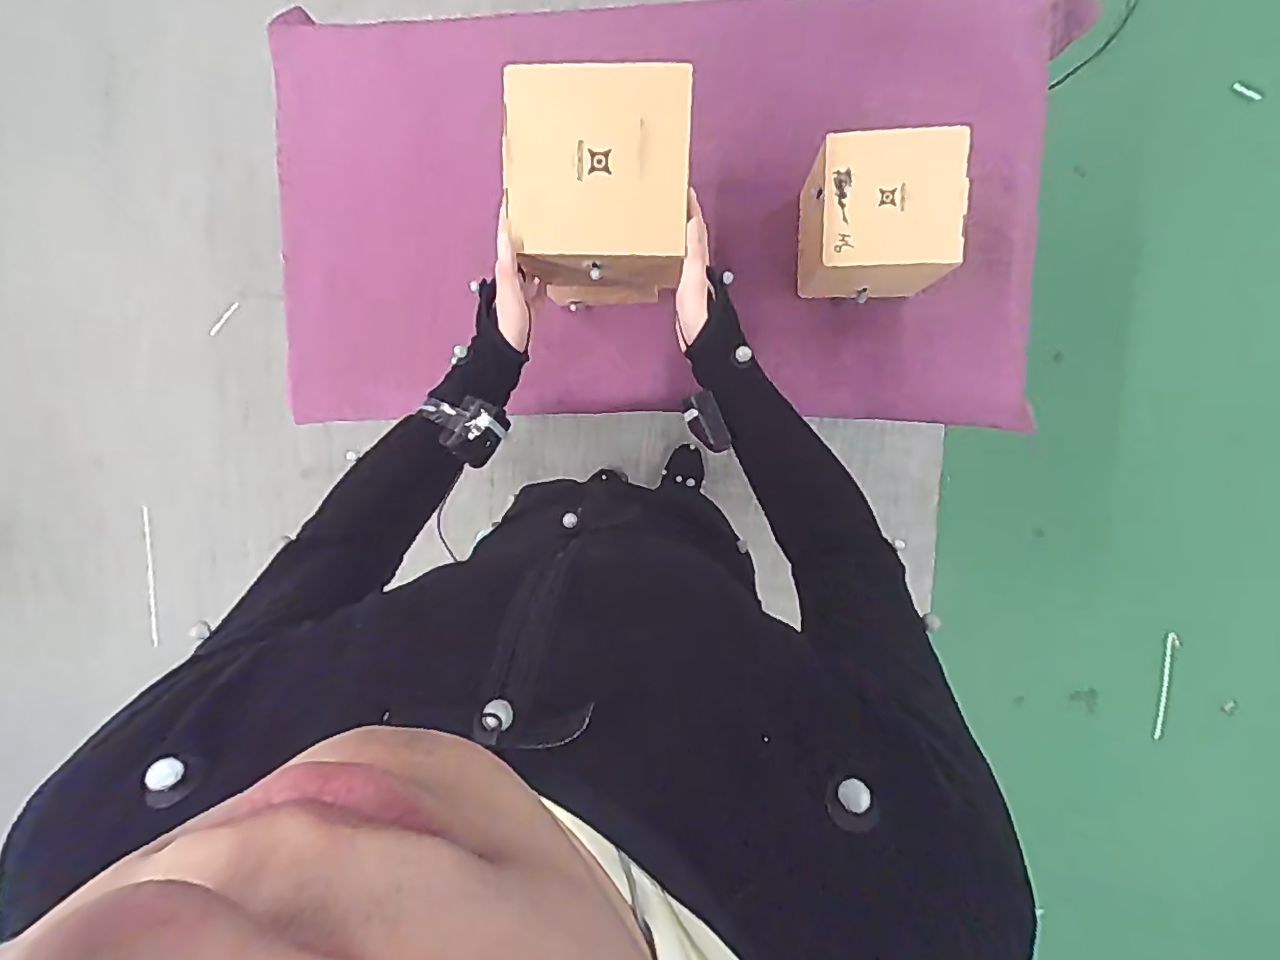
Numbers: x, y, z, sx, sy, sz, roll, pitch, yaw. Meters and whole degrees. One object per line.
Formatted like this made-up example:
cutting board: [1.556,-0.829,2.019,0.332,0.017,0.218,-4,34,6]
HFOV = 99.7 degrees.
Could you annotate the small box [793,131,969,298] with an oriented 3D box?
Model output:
small box: [0.325,-0.360,0.760,0.179,0.176,0.168,1,95,5]

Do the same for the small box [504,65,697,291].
small box: [-0.034,-0.302,0.576,0.179,0.176,0.168,3,100,3]

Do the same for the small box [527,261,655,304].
small box: [-0.065,-0.362,0.792,0.168,0.176,0.179,-1,94,5]
